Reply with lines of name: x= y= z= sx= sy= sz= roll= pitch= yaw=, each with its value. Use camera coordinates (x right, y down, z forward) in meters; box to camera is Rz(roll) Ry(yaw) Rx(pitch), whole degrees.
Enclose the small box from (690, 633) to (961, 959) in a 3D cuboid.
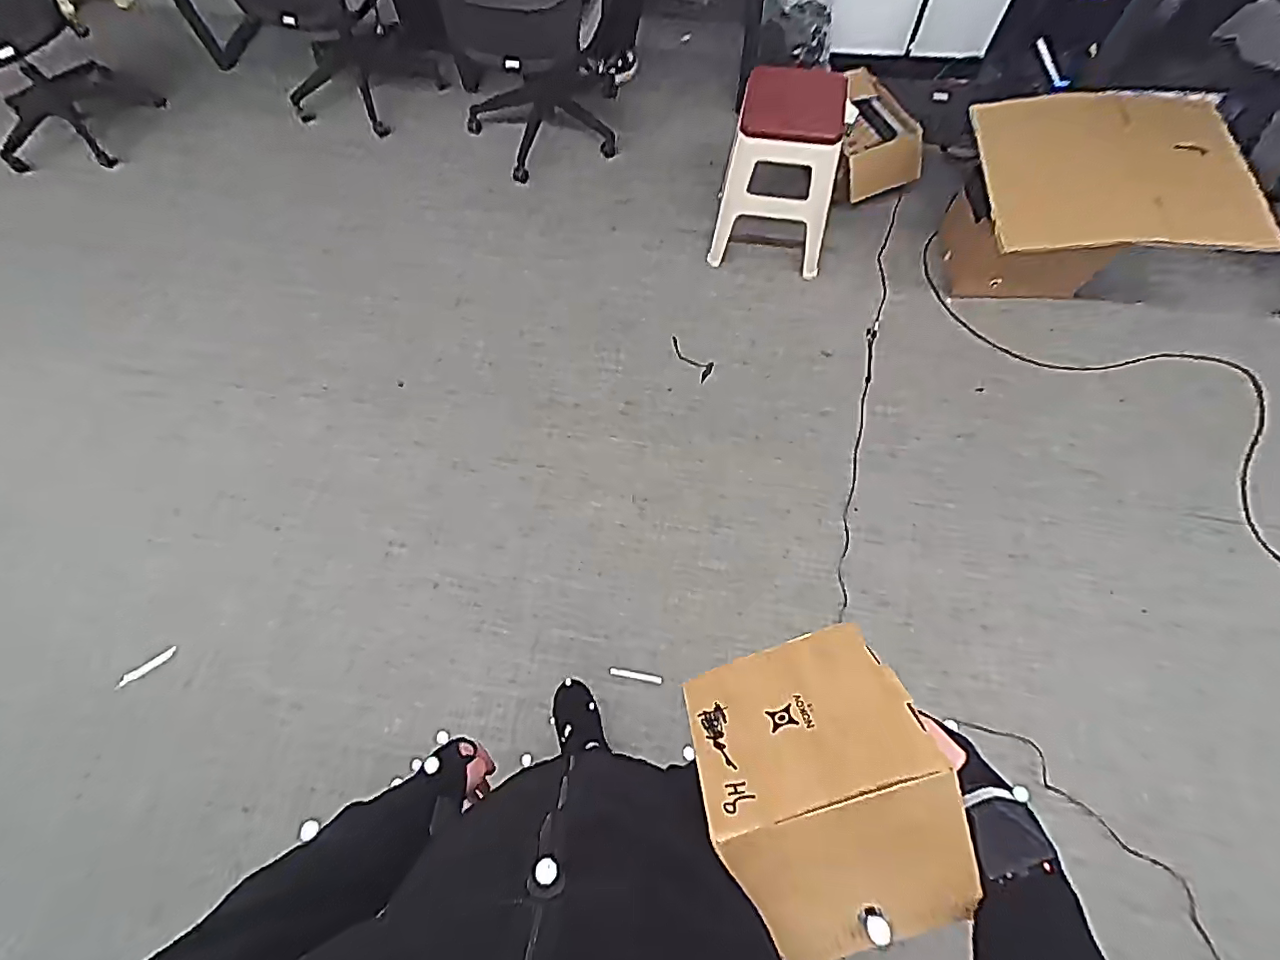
small box: x=0.161 y=0.277 z=0.489 sx=0.179 sy=0.168 sz=0.176 roll=-20 pitch=110 yaw=4
